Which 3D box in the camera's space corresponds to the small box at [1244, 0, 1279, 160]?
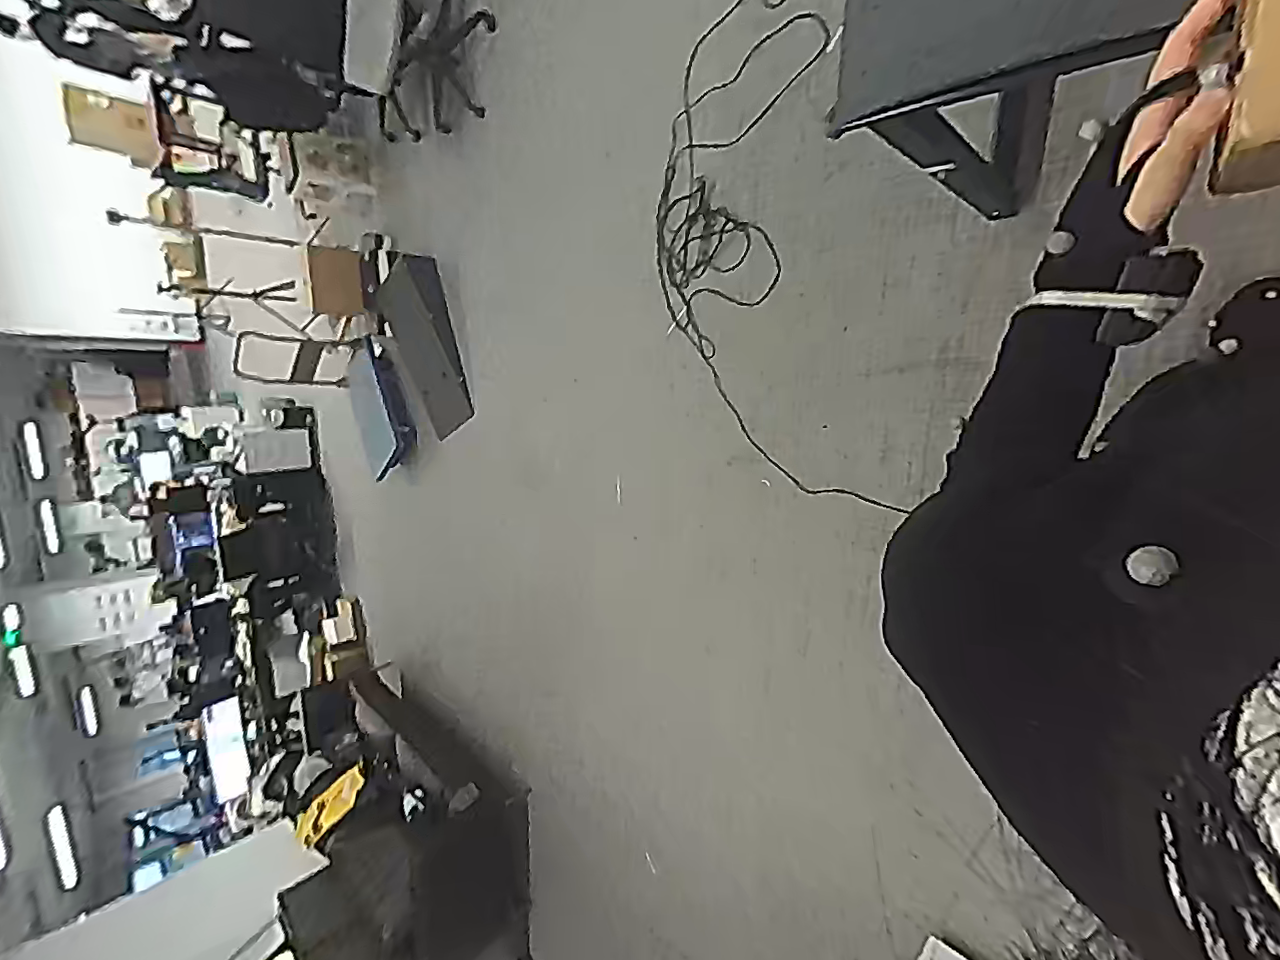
[{"bbox_3d":[0.388,-0.261,0.222,0.168,0.176,0.179,7,110,43],"label":"small box"}]
